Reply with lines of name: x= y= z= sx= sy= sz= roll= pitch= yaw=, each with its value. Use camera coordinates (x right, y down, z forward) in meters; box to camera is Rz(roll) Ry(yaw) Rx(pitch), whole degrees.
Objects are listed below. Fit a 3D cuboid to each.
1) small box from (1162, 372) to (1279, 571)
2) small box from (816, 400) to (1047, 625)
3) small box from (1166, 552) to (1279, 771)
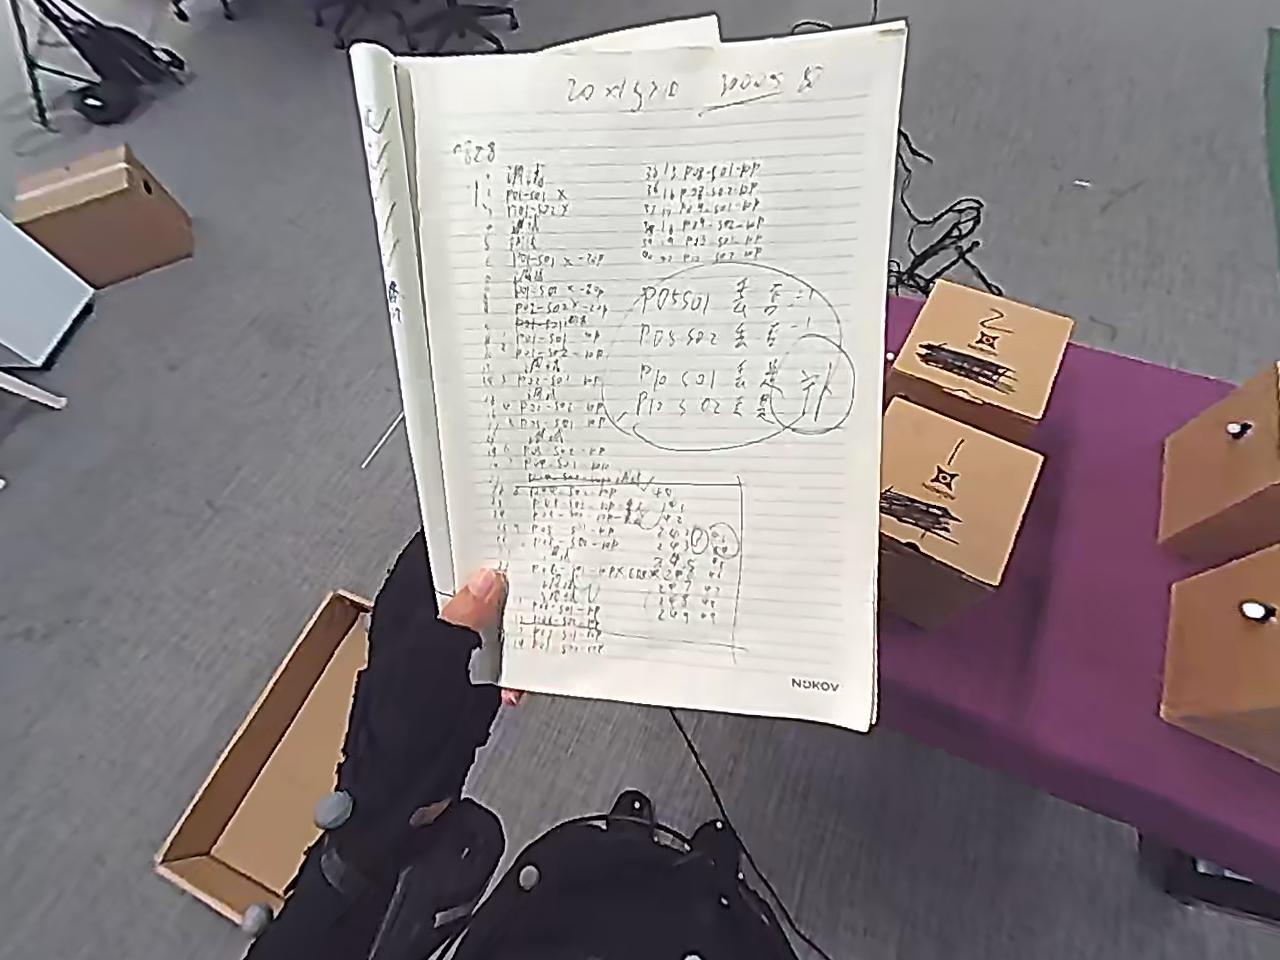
small box: x=0.759 y=0.006 z=0.622 sx=0.168 sy=0.176 sz=0.179 roll=22 pitch=67 yaw=16
small box: x=0.326 y=0.046 z=0.640 sx=0.168 sy=0.176 sz=0.179 roll=29 pitch=67 yaw=18
small box: x=0.677 y=0.194 z=0.531 sx=0.168 sy=0.176 sz=0.179 roll=25 pitch=67 yaw=17
